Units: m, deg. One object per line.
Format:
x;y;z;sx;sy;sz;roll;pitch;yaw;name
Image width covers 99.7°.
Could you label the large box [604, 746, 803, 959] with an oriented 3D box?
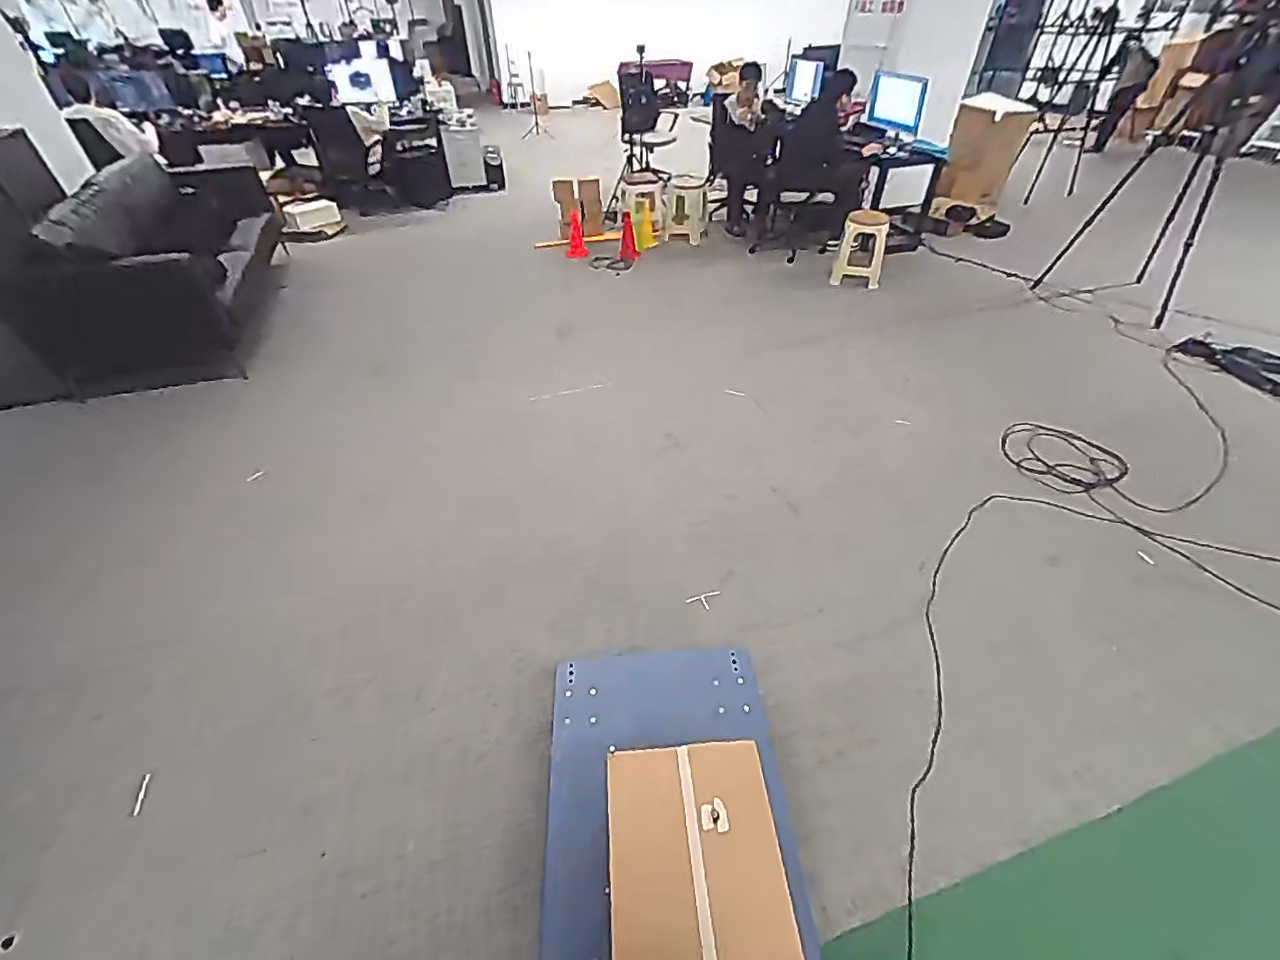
0.101;0.812;1.074;0.320;0.320;0.408;-3;40;-4;large box
